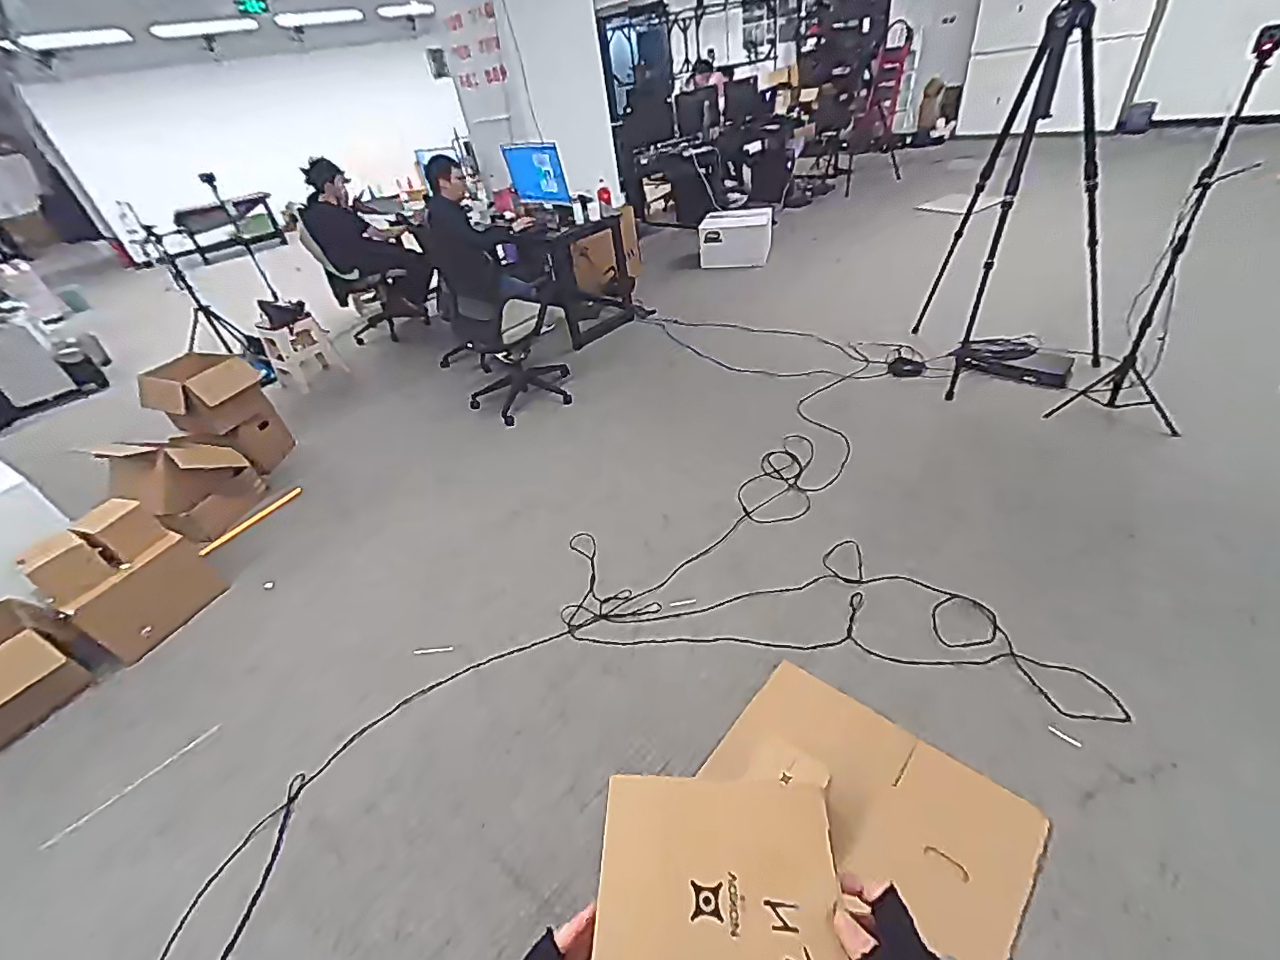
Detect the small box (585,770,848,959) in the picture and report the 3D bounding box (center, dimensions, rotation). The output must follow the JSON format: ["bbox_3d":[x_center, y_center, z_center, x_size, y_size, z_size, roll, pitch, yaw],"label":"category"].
[{"bbox_3d":[0.058,0.356,0.435,0.179,0.176,0.168,1,42,5],"label":"small box"}]

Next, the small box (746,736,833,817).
[{"bbox_3d":[0.340,0.756,1.270,0.168,0.176,0.179,19,46,34],"label":"small box"}]
